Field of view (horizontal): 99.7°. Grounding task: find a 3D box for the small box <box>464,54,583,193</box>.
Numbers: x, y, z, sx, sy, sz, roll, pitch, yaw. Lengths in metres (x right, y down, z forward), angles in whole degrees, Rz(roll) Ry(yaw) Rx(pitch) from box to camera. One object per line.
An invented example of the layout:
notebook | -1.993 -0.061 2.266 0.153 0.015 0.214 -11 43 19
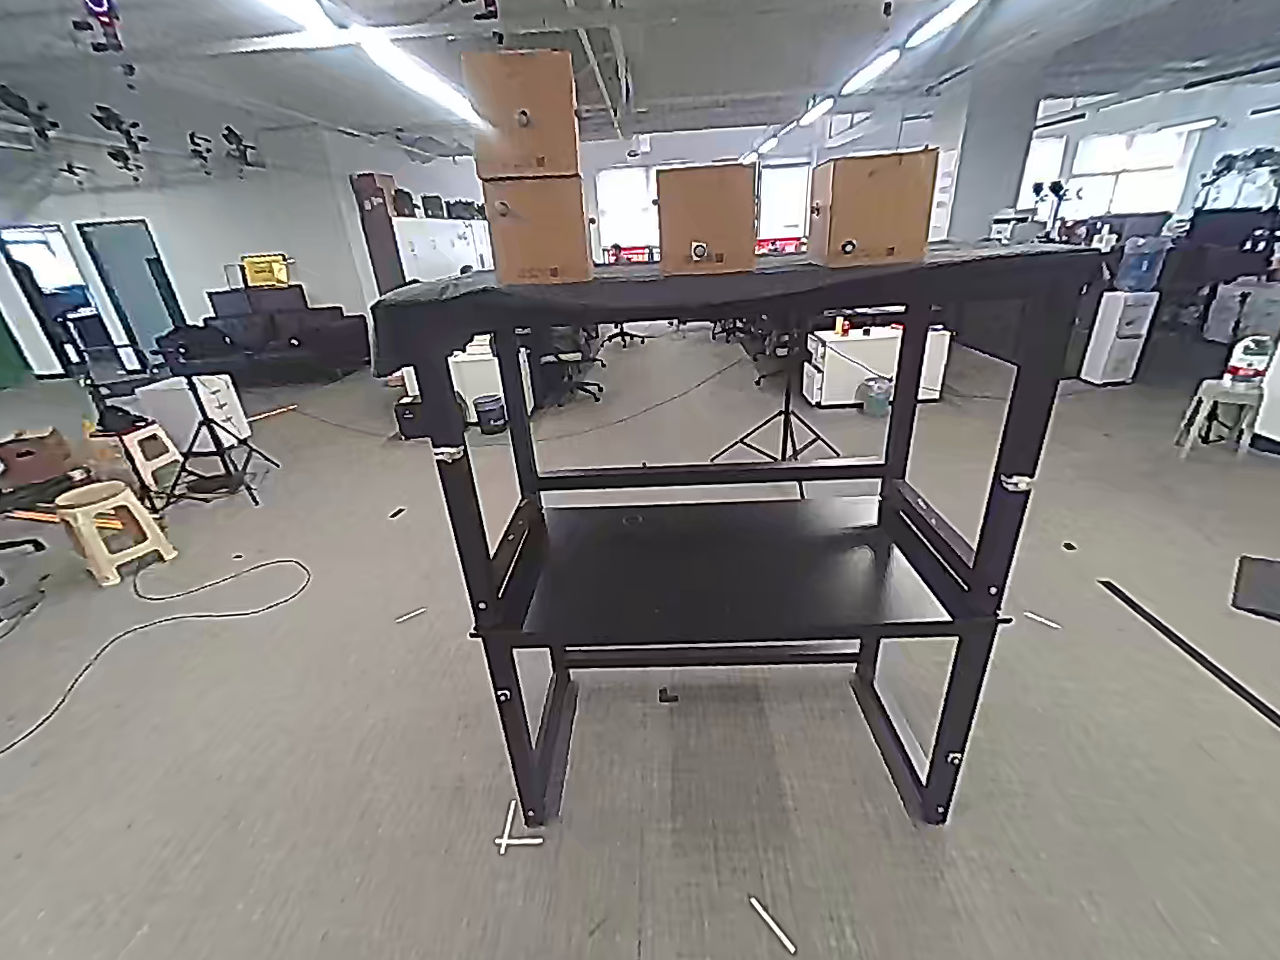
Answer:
small box | -0.185 -0.592 0.916 0.168 0.176 0.179 -3 24 -3

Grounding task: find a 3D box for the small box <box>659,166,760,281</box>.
small box | 0.123 -0.455 0.975 0.168 0.176 0.179 -2 24 6

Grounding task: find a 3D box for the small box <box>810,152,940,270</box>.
small box | 0.406 -0.470 0.966 0.168 0.176 0.179 -2 24 5
